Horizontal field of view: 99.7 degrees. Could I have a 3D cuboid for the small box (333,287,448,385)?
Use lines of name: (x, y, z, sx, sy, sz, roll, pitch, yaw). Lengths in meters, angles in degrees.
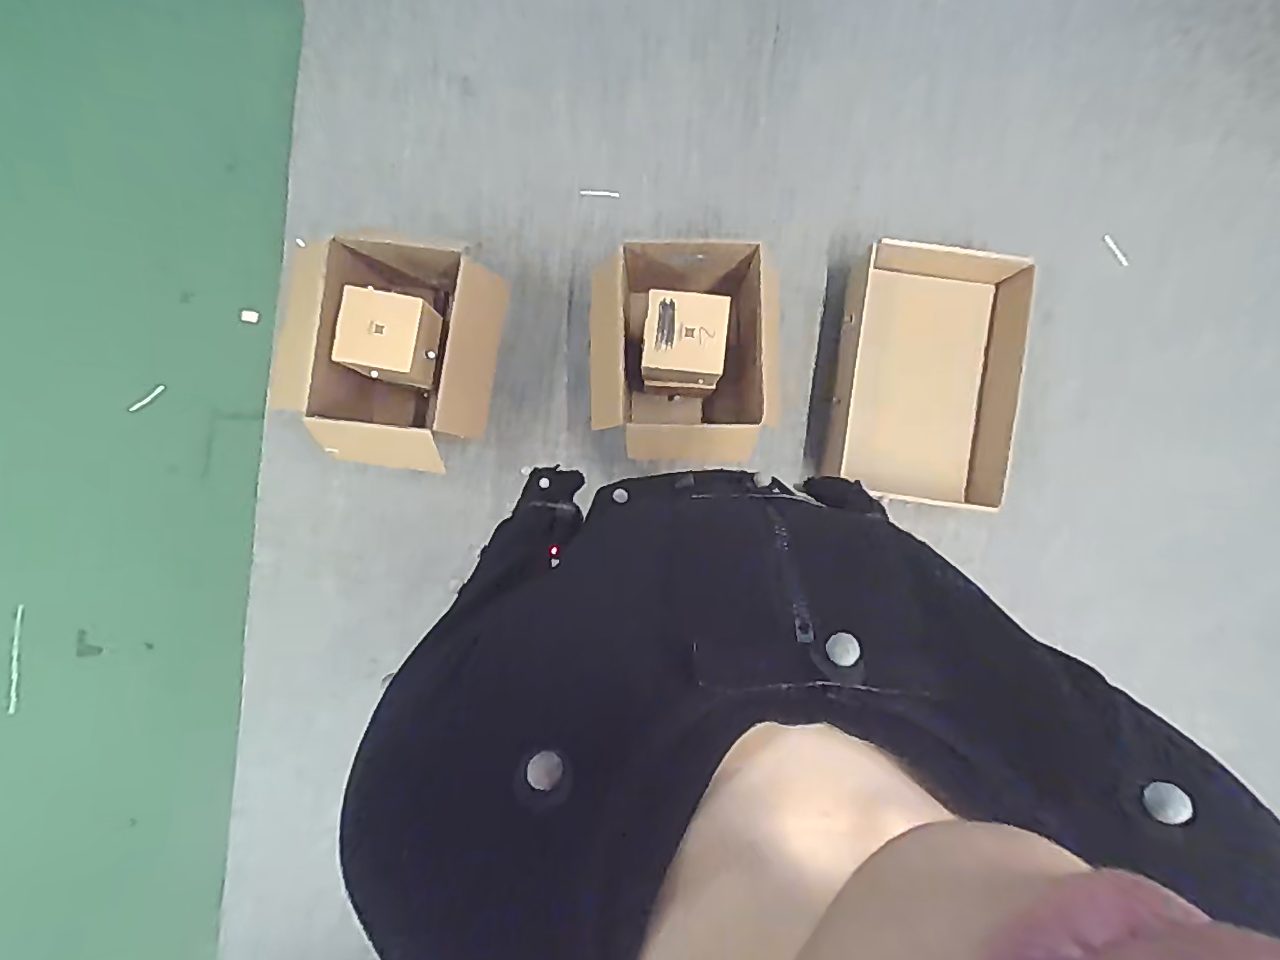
small box: (-0.561, -0.320, 1.238, 0.179, 0.176, 0.168, 9, 89, 0)
